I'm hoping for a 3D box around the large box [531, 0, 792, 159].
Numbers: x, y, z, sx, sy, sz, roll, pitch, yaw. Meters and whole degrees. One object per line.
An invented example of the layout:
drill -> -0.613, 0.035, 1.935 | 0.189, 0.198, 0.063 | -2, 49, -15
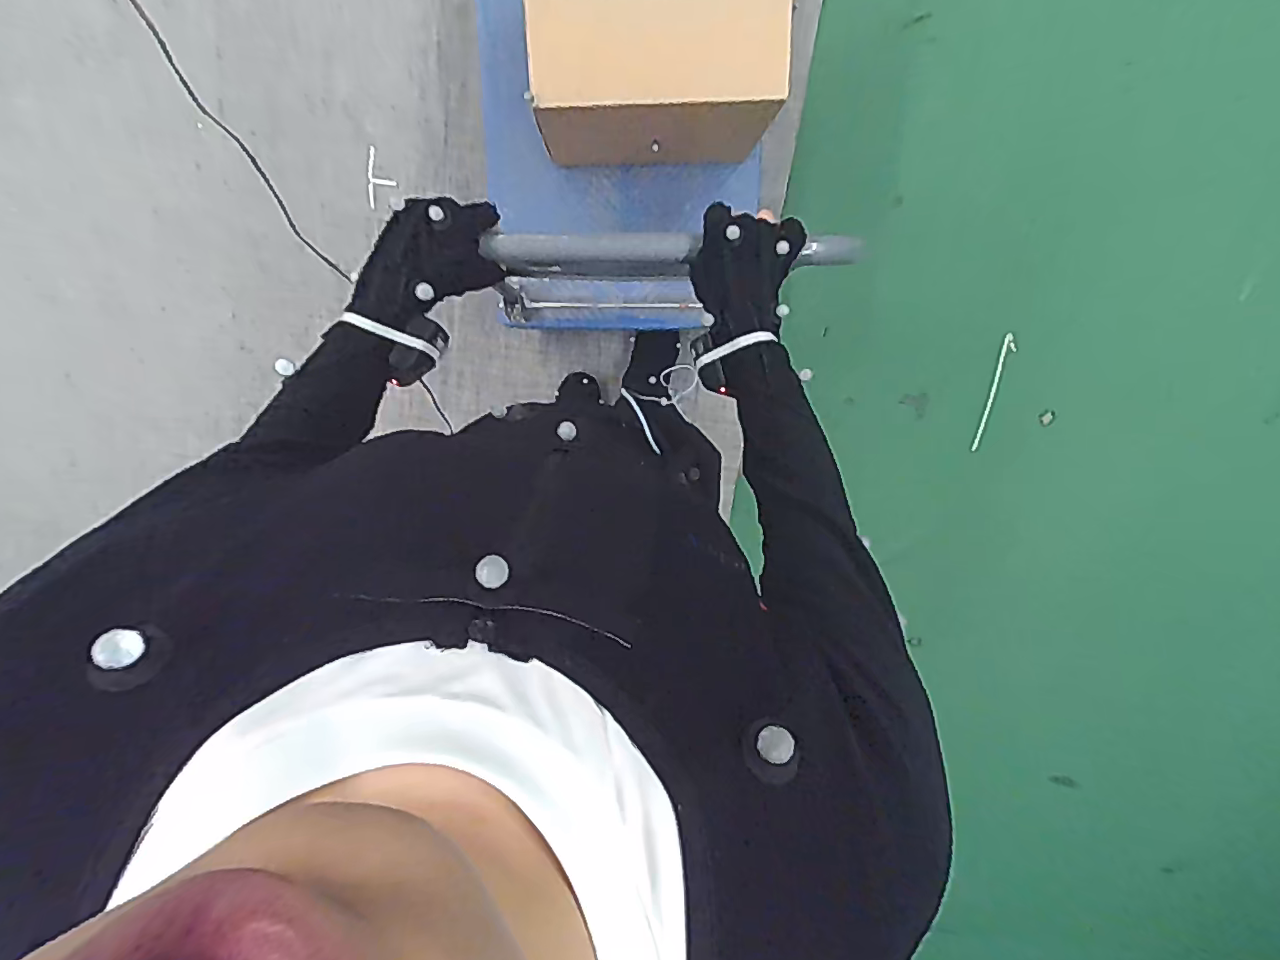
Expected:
large box -> 0.032, -0.792, 0.958 | 0.408, 0.320, 0.320 | -3, 105, 0
